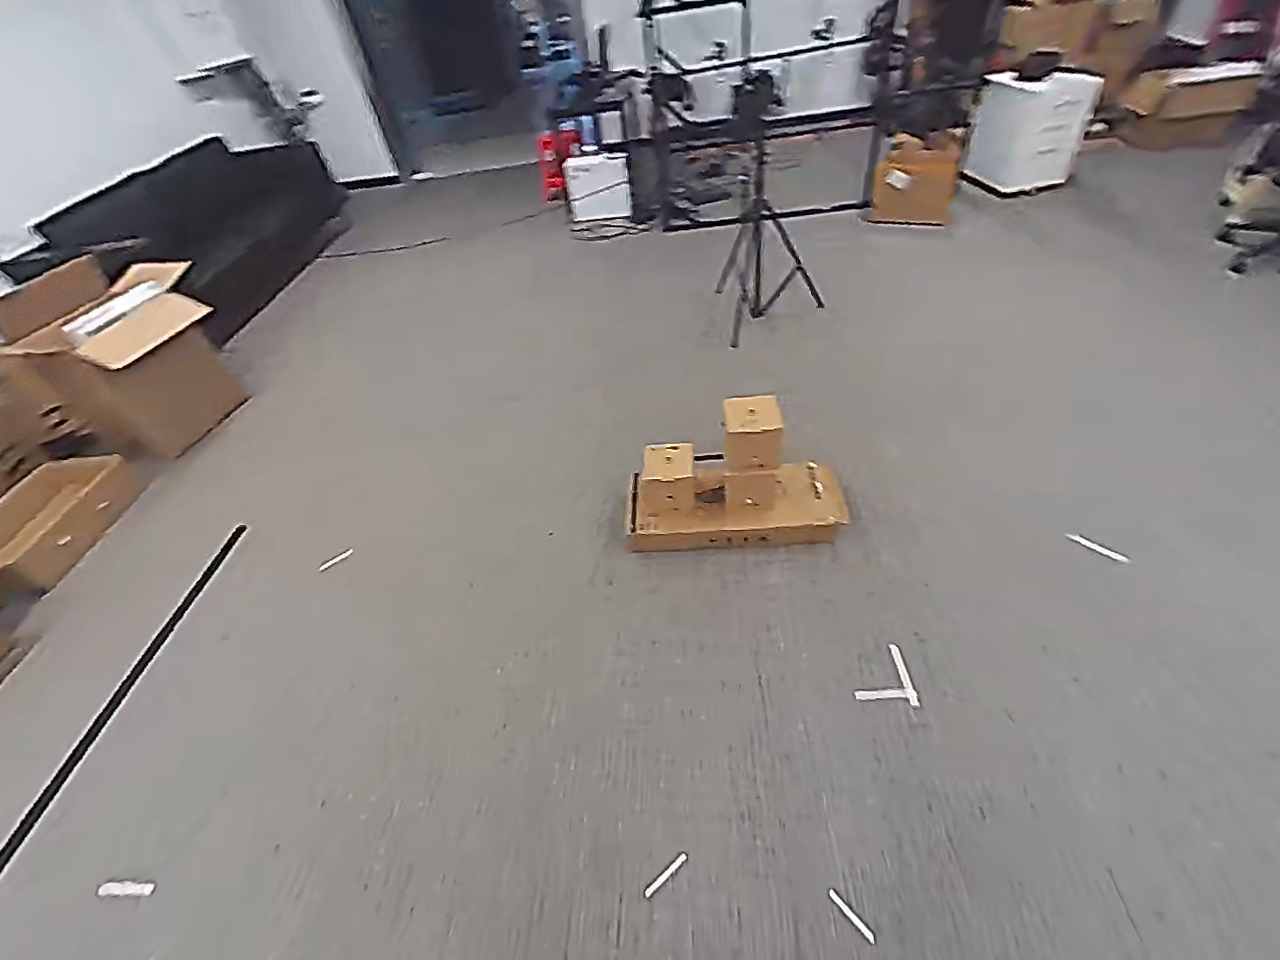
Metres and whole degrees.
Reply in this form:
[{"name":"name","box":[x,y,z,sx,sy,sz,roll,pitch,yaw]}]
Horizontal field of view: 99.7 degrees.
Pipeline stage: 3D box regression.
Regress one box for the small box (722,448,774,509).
[{"name":"small box","box":[0.364,-0.020,1.842,0.168,0.176,0.179,-2,45,9]}]

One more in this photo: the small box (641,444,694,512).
[{"name":"small box","box":[0.097,-0.002,1.871,0.168,0.176,0.179,-4,46,7]}]

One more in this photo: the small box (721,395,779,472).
[{"name":"small box","box":[0.348,-0.149,1.737,0.168,0.176,0.179,-5,44,6]}]
